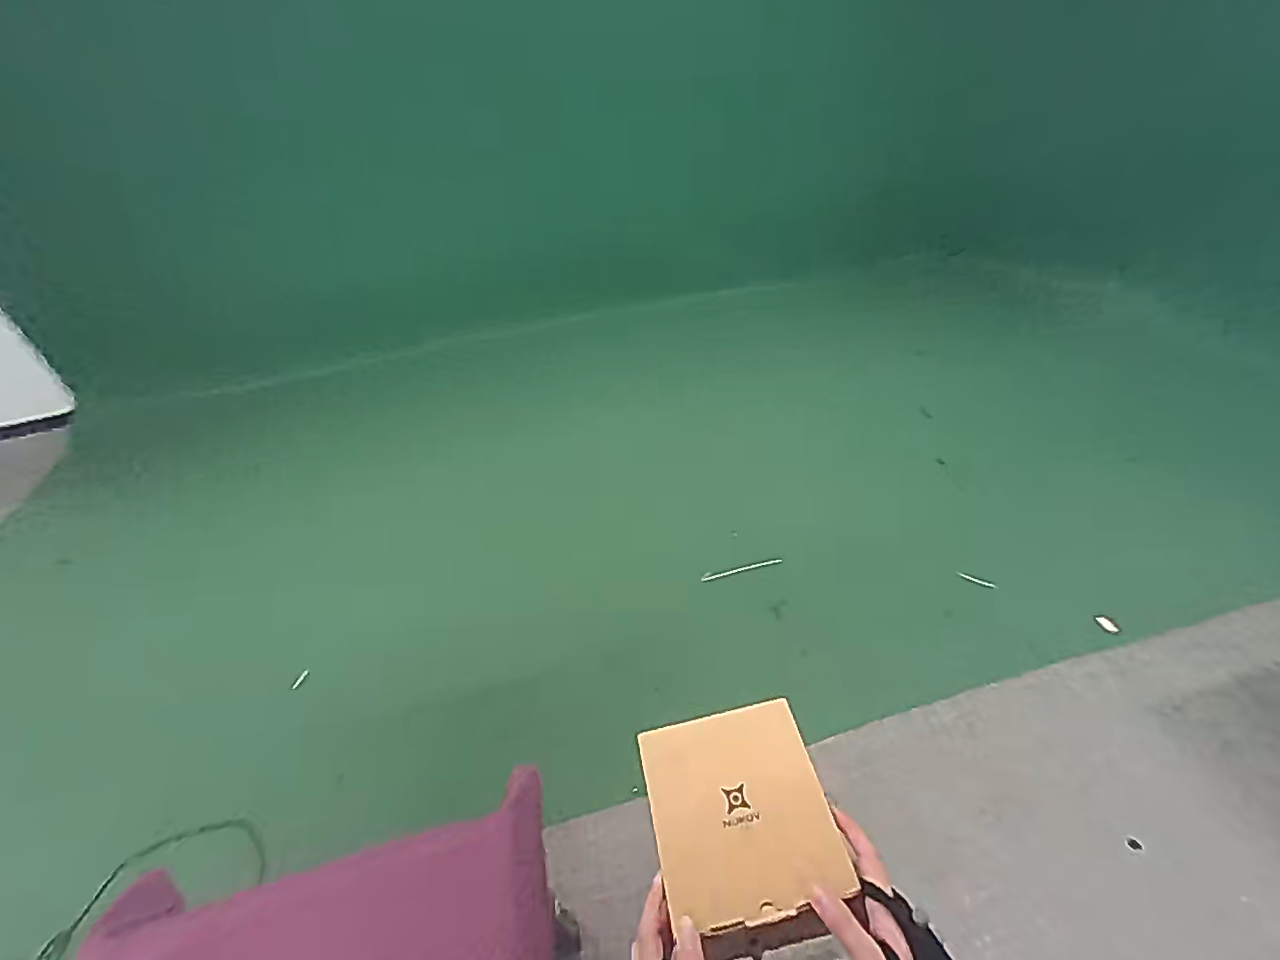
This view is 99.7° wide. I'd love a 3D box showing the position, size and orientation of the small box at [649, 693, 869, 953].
[{"bbox_3d":[0.109,0.358,0.568,0.168,0.176,0.179,-12,43,-3],"label":"small box"}]
